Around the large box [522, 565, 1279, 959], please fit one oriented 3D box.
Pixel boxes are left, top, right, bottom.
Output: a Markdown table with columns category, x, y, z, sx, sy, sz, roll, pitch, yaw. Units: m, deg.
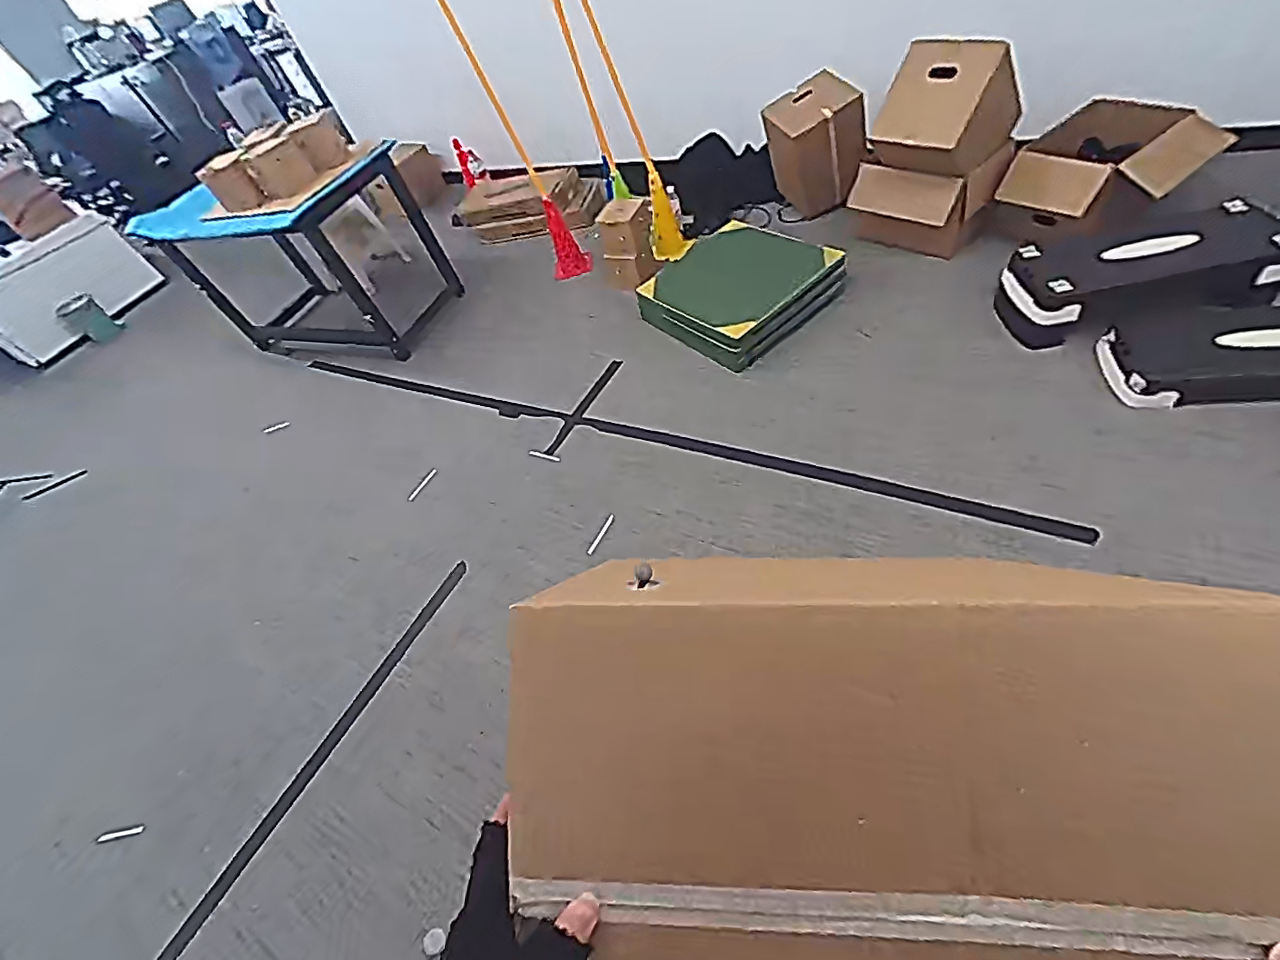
| category | x | y | z | sx | sy | sz | roll | pitch | yaw |
| --- | --- | --- | --- | --- | --- | --- | --- | --- | --- |
| large box | 0.147 | 0.234 | 0.431 | 0.408 | 0.320 | 0.320 | -2 | 86 | 7 |
